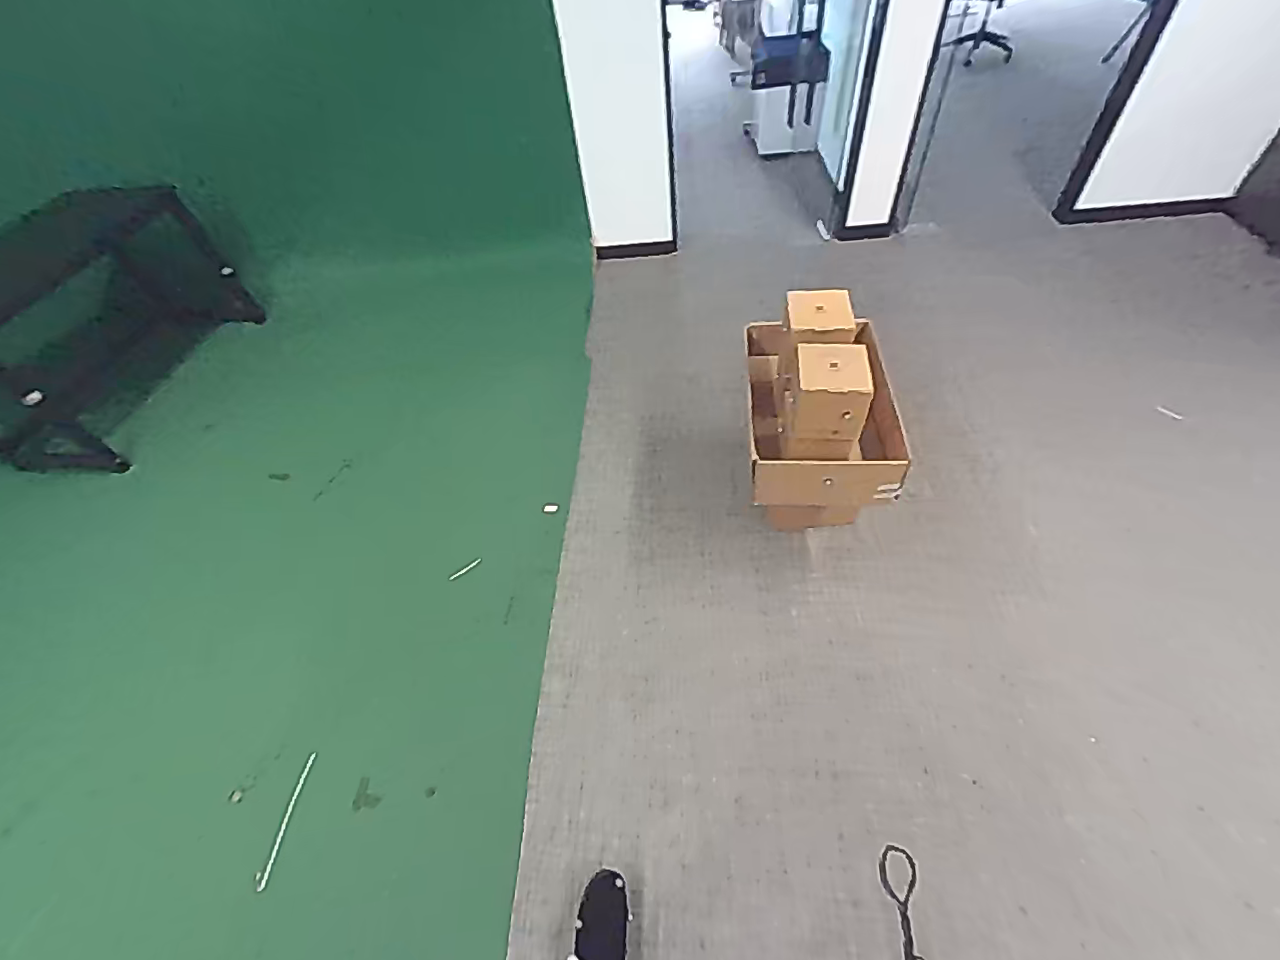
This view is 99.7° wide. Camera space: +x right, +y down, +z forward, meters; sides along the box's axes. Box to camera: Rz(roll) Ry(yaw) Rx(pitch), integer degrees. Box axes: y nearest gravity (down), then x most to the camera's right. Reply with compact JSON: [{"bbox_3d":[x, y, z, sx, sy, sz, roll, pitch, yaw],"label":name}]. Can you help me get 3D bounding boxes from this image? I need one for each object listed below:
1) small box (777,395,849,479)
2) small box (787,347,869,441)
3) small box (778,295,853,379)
[{"bbox_3d":[0.476,-0.118,1.500,0.168,0.176,0.179,1,50,7],"label":"small box"},{"bbox_3d":[0.469,-0.215,1.369,0.168,0.176,0.179,4,50,8],"label":"small box"},{"bbox_3d":[0.487,-0.402,1.527,0.168,0.176,0.179,1,53,7],"label":"small box"}]
